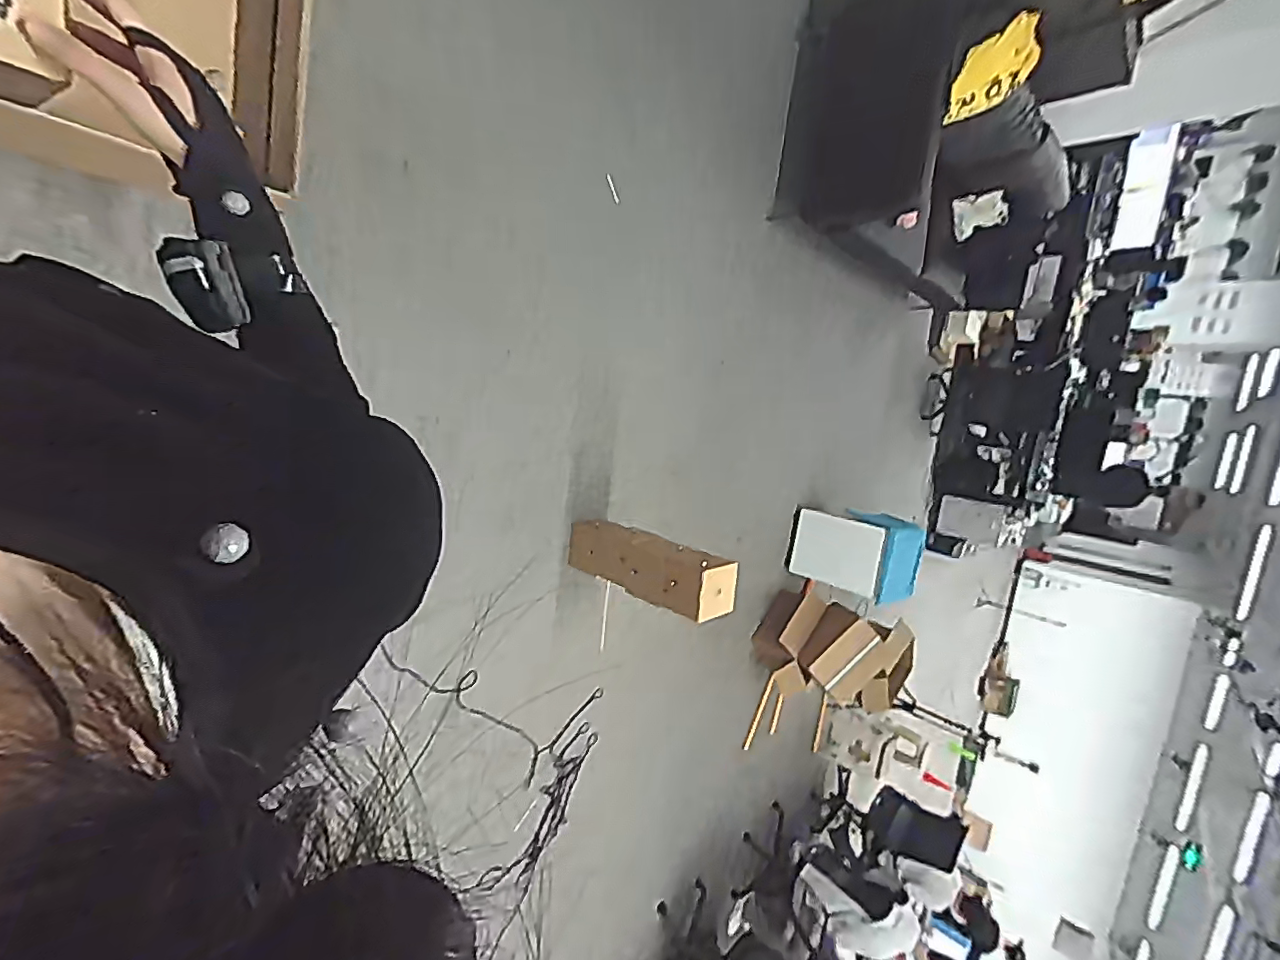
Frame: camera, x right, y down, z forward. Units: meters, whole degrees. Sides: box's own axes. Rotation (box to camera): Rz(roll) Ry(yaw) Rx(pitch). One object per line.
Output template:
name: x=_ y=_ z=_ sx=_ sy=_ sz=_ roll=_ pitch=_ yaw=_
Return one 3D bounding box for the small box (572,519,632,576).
small box: x=-0.143 y=0.249 z=2.061 sx=0.168 sy=0.176 sz=0.179 roll=-2 pitch=102 yaw=-46

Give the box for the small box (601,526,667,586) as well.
small box: x=-0.026 y=0.268 z=1.947 sx=0.168 sy=0.176 sz=0.179 roll=-1 pitch=101 yaw=-45

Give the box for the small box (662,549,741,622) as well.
small box: x=0.193 y=0.325 z=1.710 sx=0.179 sy=0.176 sz=0.168 roll=-4 pitch=103 yaw=-44

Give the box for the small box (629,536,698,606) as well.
small box: x=0.079 y=0.302 z=1.826 sx=0.168 sy=0.176 sz=0.179 roll=-5 pitch=104 yaw=-45
